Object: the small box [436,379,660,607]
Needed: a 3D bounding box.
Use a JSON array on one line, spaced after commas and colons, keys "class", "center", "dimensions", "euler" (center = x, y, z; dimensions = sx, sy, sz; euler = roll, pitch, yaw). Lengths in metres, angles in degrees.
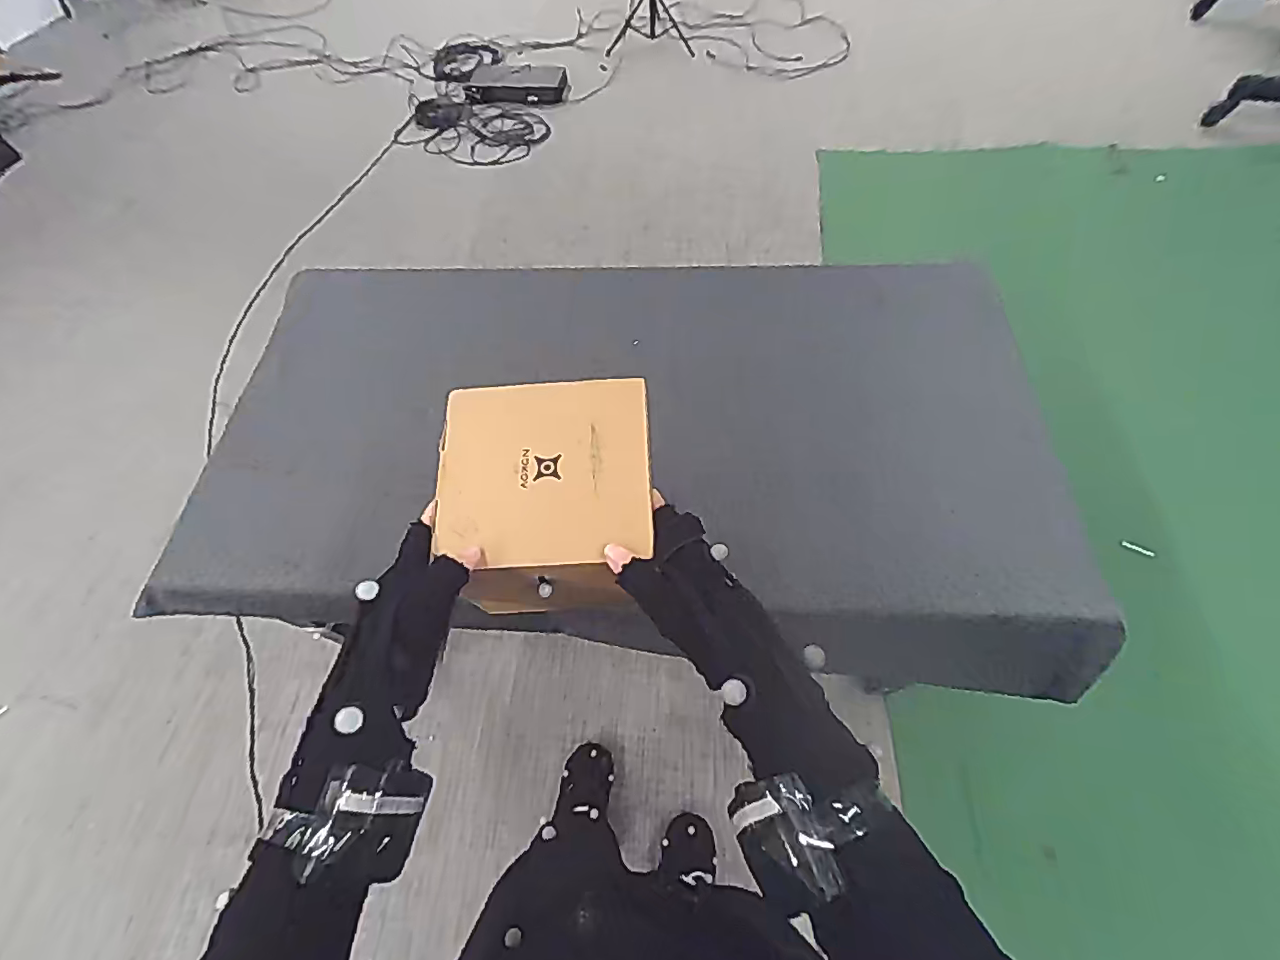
[{"class": "small box", "center": [-0.073, 0.022, 0.521], "dimensions": [0.179, 0.176, 0.168], "euler": [-4, 66, 0]}]
